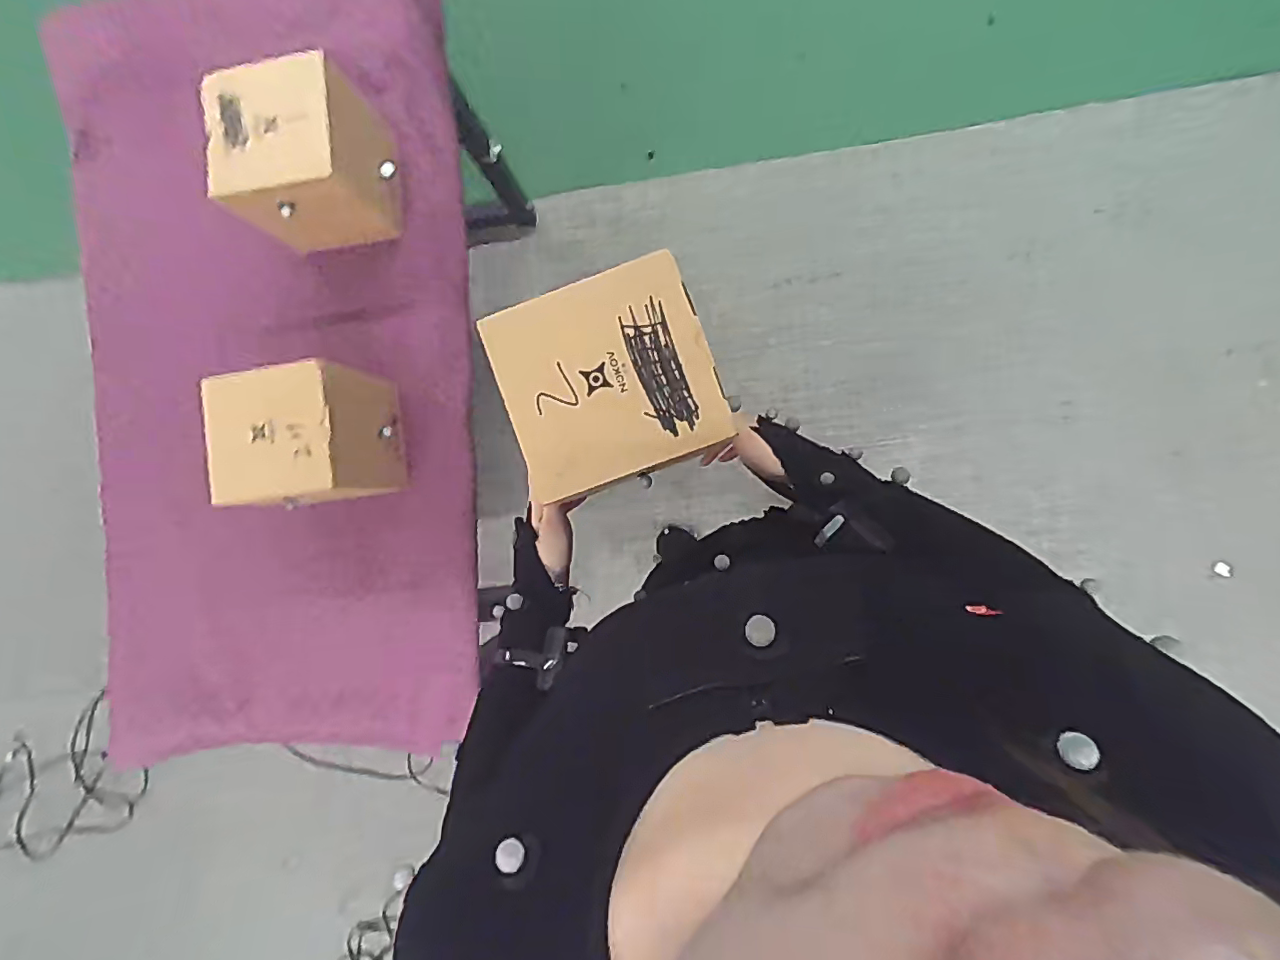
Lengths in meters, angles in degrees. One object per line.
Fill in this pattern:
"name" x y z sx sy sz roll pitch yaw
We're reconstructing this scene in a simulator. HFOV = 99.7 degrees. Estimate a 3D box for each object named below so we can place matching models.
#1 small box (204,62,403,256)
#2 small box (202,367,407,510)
"small box" -0.472 -0.443 0.777 0.179 0.176 0.168 -6 88 6
"small box" -0.459 -0.048 0.760 0.179 0.176 0.168 -8 88 8
